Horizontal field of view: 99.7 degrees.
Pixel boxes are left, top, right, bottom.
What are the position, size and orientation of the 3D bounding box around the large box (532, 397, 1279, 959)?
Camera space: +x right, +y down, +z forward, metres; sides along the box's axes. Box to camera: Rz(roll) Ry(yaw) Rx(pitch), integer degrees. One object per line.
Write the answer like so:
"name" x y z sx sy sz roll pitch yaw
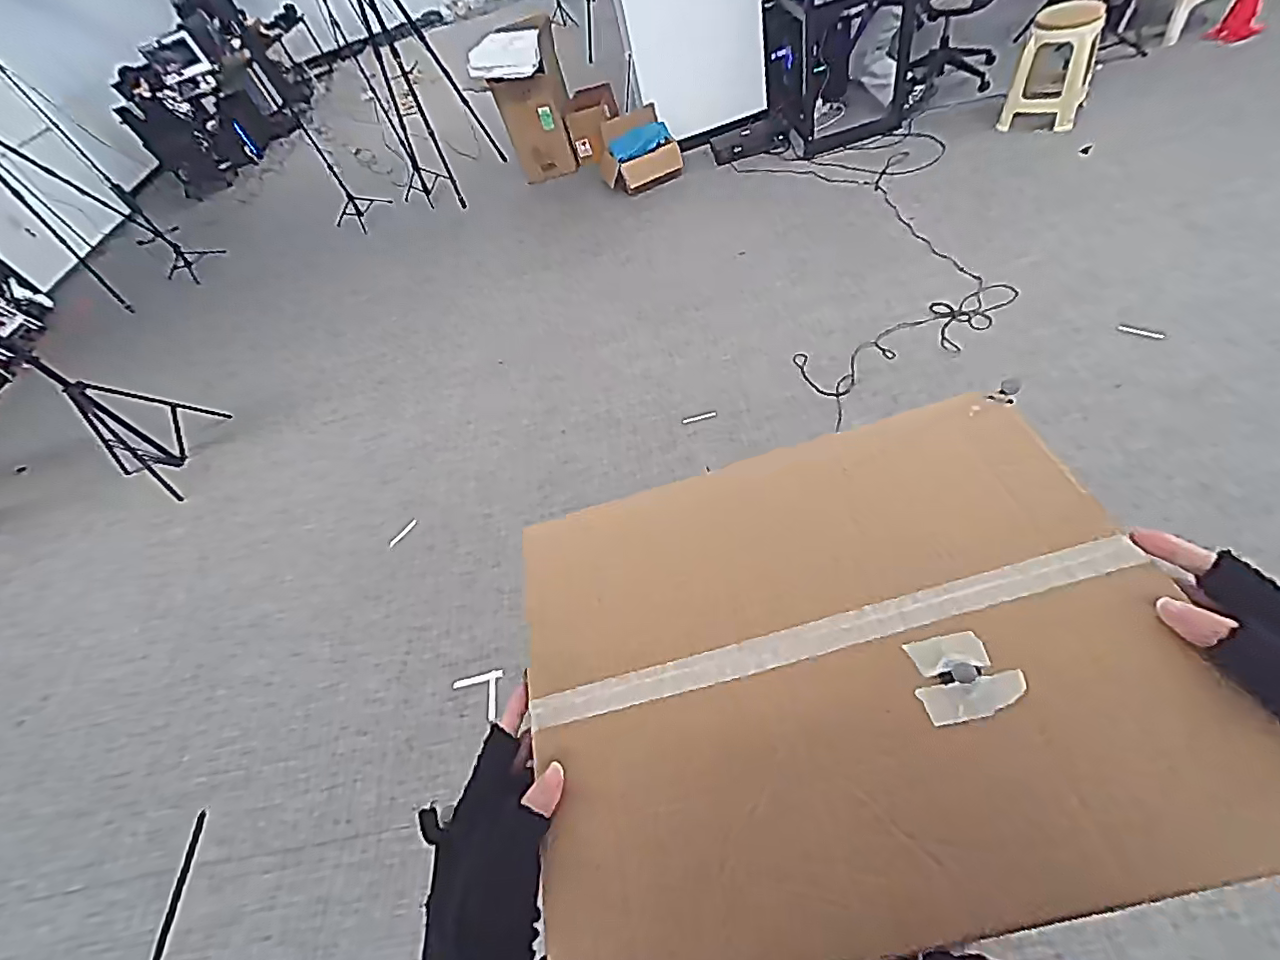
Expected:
"large box" 0.156 0.190 0.487 0.408 0.320 0.320 -17 53 4
